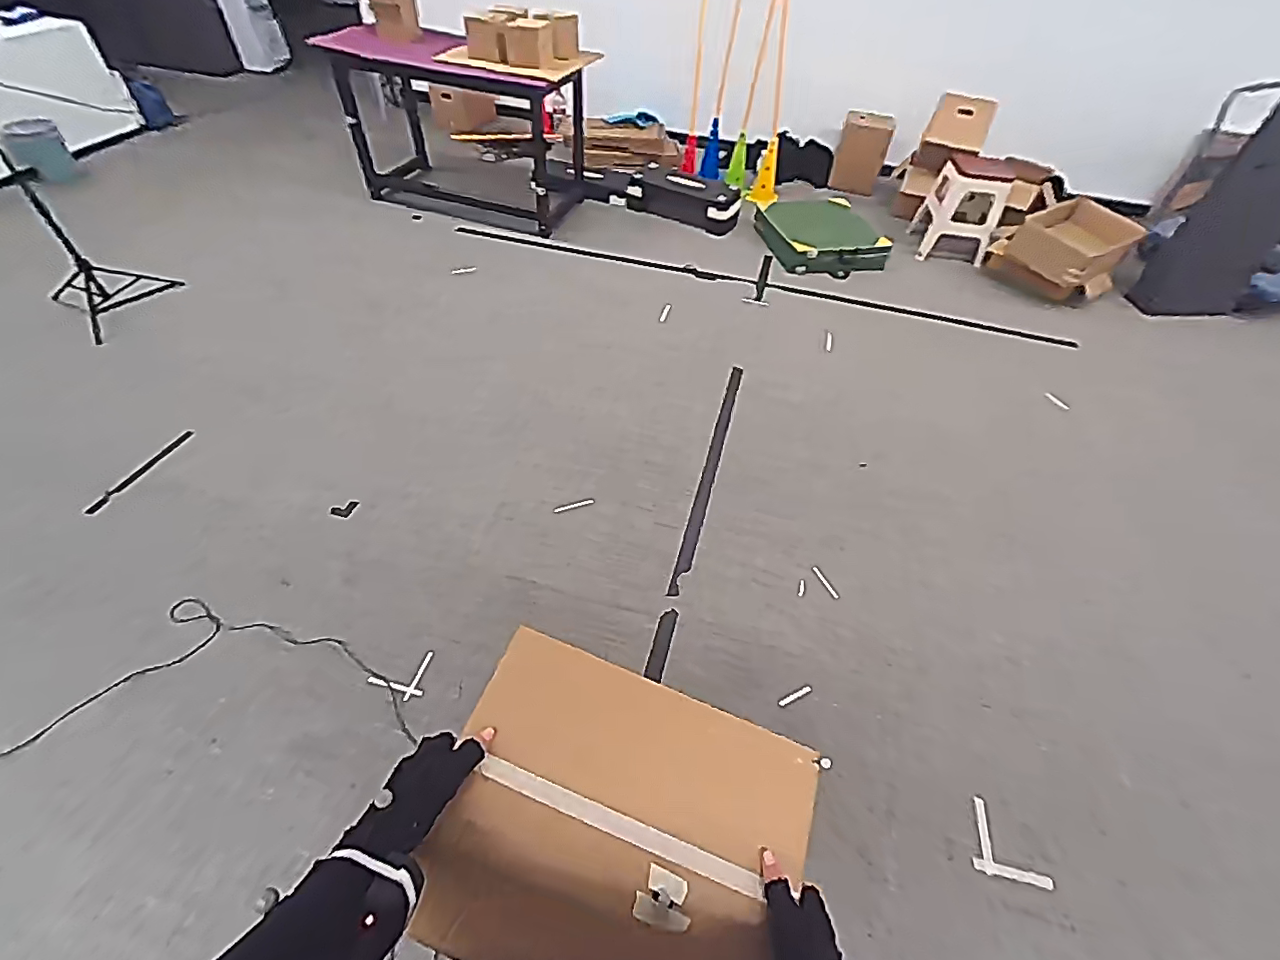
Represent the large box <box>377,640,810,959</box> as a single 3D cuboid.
[{"bbox_3d":[-0.046,0.469,0.713,0.408,0.320,0.320,21,55,6],"label":"large box"}]
